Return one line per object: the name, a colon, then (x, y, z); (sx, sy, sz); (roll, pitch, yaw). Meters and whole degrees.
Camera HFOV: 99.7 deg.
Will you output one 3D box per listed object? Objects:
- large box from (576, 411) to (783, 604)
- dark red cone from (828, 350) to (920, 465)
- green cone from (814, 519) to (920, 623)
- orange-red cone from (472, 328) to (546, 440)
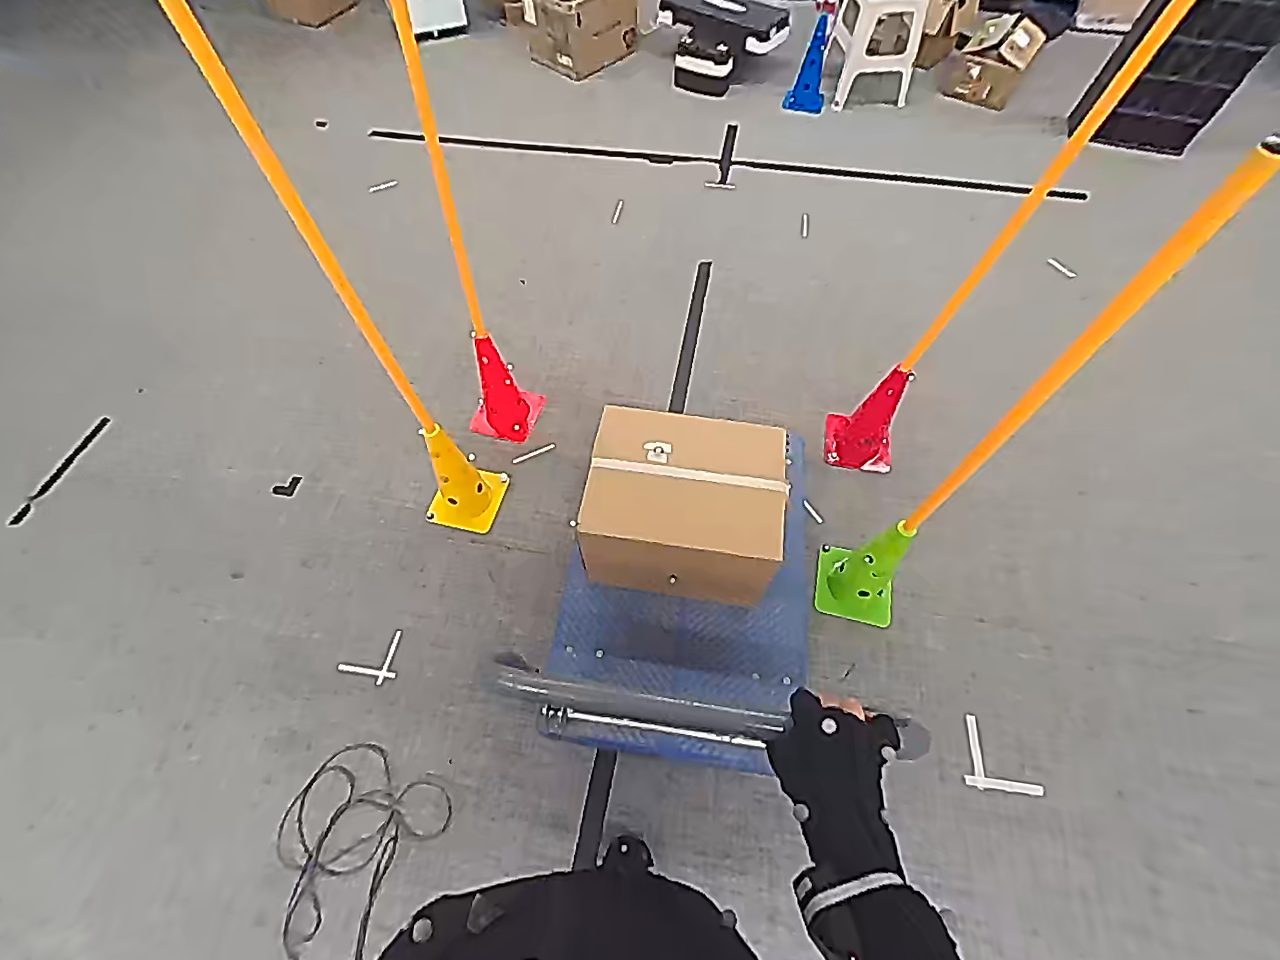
large box: (0.096, 0.074, 1.247); (0.408, 0.320, 0.320); (8, 61, 6)
dark red cone: (0.698, -0.223, 1.564); (0.201, 0.394, 0.202); (10, 61, 4)
green cone: (0.588, 0.194, 1.341); (0.202, 0.368, 0.200); (13, 61, 6)
orange-red cone: (-0.430, -0.319, 1.644); (0.198, 0.360, 0.199); (16, 60, 8)
